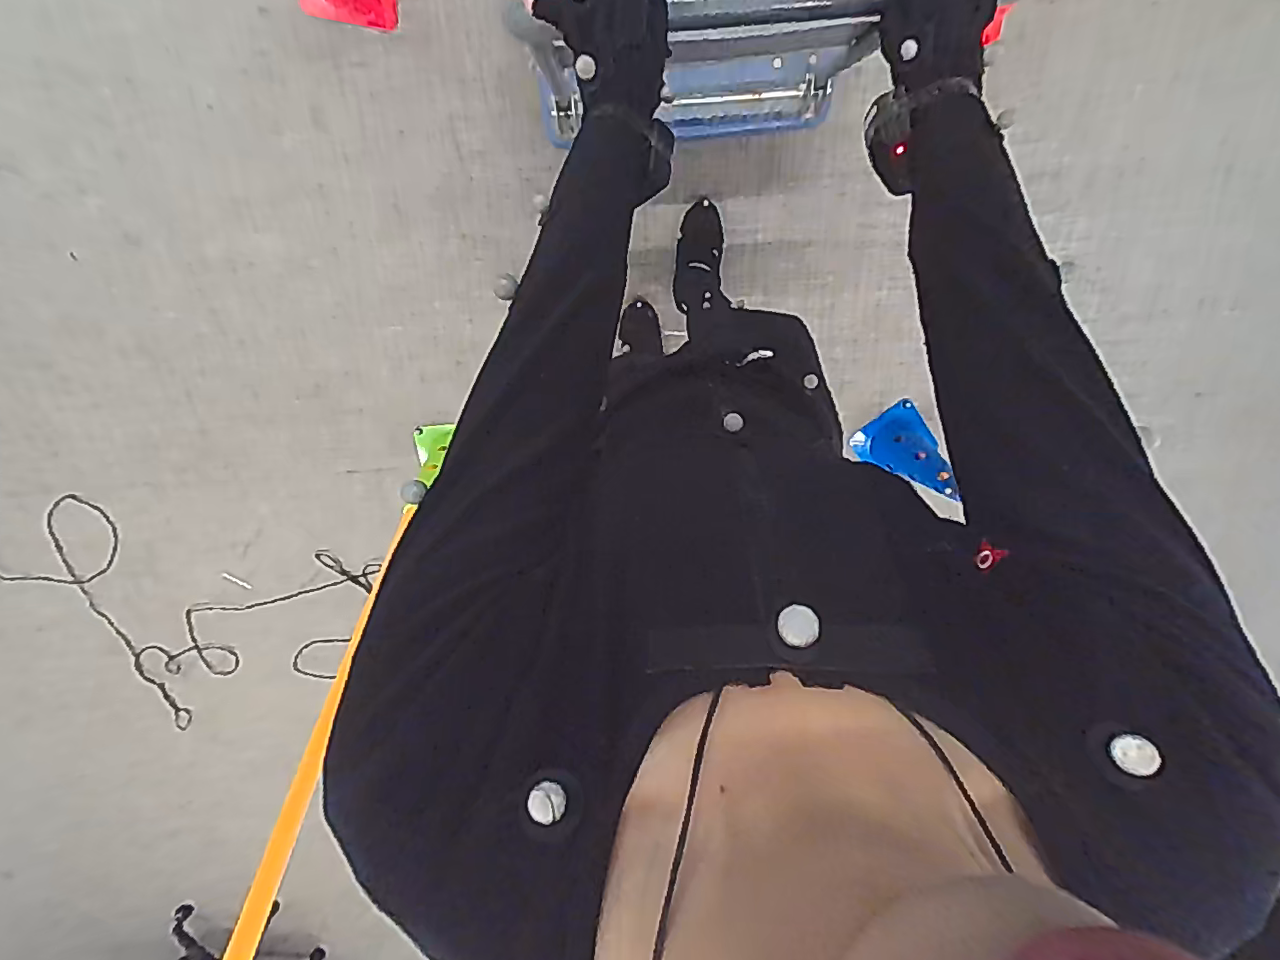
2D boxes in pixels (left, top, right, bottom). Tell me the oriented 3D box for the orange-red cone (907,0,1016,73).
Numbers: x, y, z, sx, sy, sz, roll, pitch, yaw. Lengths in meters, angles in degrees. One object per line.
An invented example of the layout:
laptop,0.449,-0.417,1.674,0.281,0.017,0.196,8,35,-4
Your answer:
orange-red cone,0.694,-0.939,1.003,0.198,0.360,0.199,7,113,-4
